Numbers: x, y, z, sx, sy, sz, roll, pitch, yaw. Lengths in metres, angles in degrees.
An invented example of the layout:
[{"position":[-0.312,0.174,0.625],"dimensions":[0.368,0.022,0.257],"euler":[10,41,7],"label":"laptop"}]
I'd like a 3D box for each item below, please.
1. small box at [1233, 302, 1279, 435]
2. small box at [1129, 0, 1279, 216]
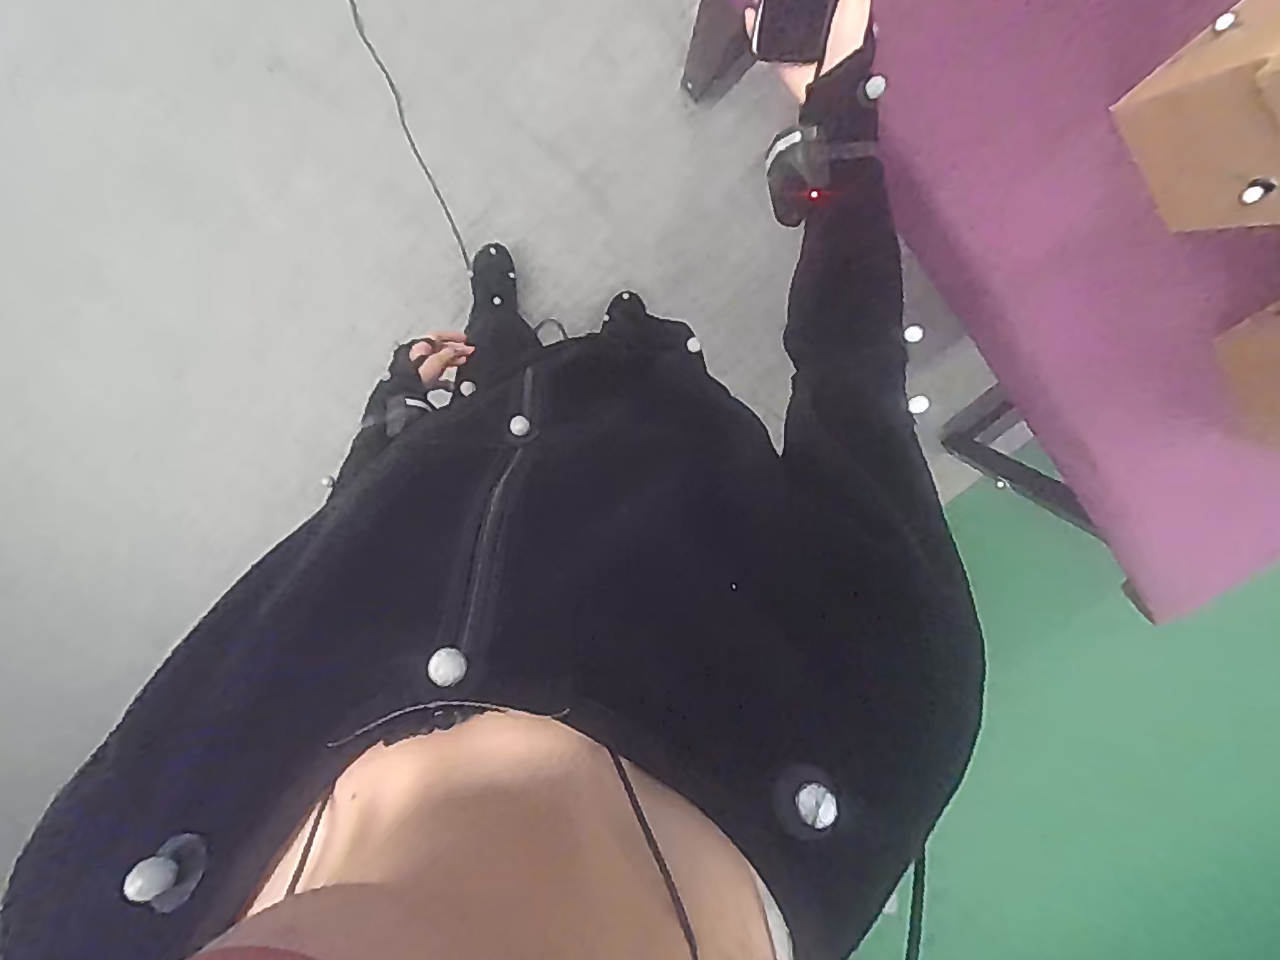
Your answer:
[{"position":[0.871,-0.139,0.629],"dimensions":[0.168,0.176,0.179],"euler":[-33,107,11],"label":"small box"},{"position":[0.657,-0.387,0.534],"dimensions":[0.168,0.176,0.179],"euler":[-39,106,13],"label":"small box"}]
